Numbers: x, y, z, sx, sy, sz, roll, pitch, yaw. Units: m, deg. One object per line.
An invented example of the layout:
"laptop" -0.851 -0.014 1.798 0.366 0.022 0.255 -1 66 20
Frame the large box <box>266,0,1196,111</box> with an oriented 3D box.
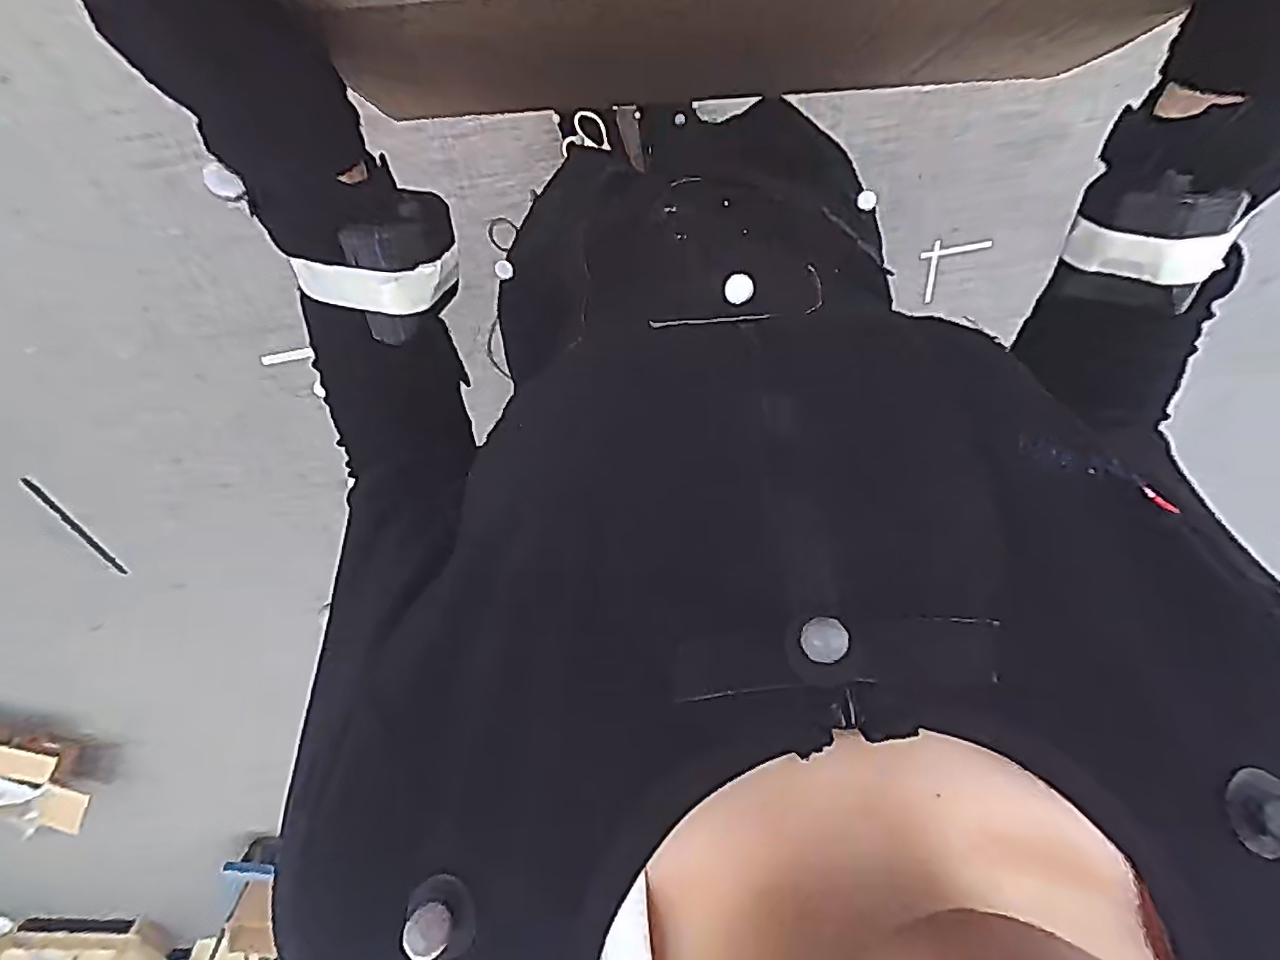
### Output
"large box" 0.045 -0.333 0.139 0.408 0.320 0.320 -4 110 -1
